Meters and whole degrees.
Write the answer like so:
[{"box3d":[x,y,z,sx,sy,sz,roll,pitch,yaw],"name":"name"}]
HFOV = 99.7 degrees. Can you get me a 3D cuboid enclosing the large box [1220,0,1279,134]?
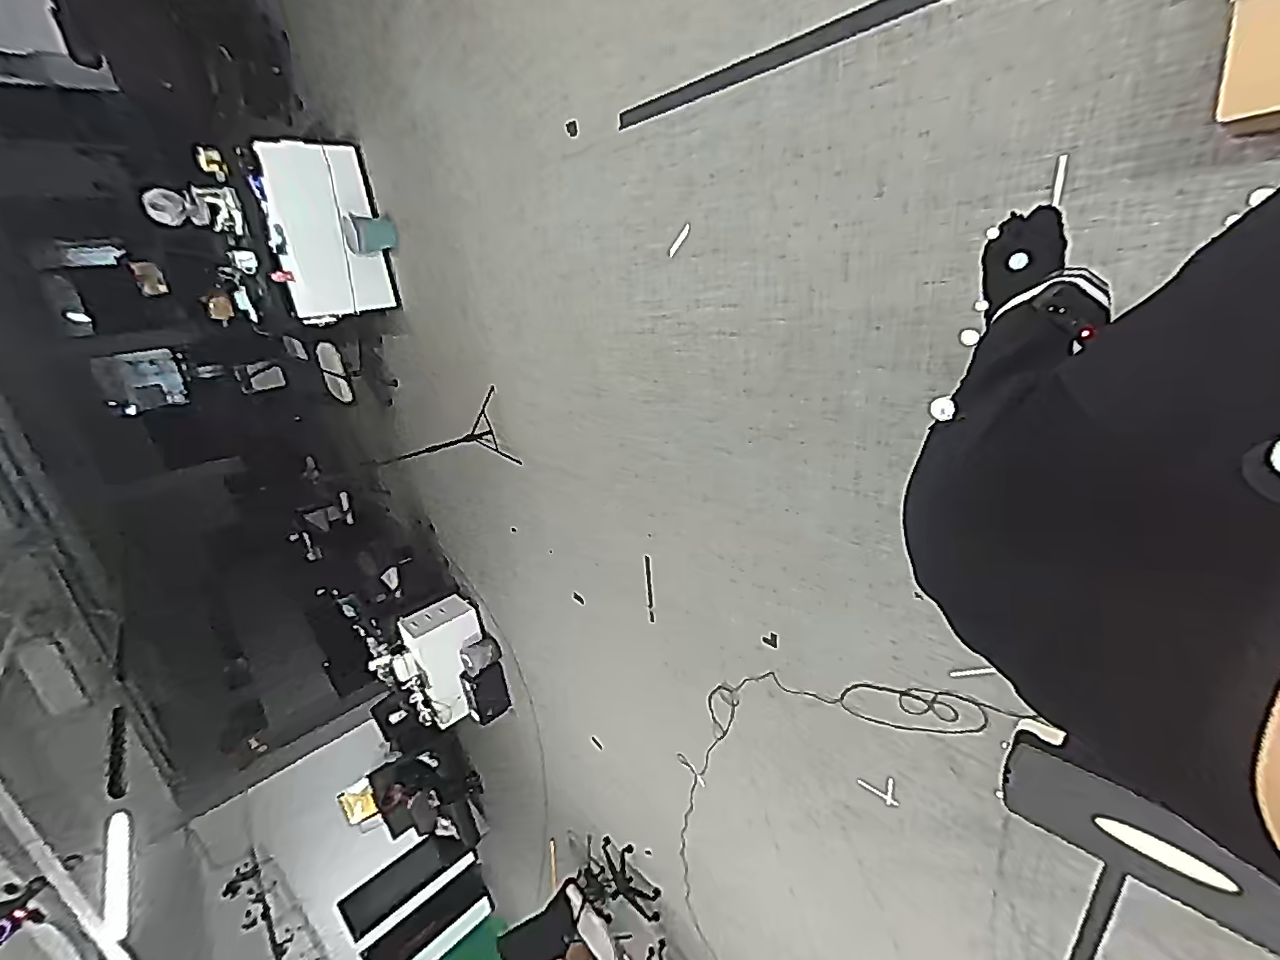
[{"box3d":[1.022,-0.666,0.656,0.408,0.320,0.320,12,118,46],"name":"large box"}]
